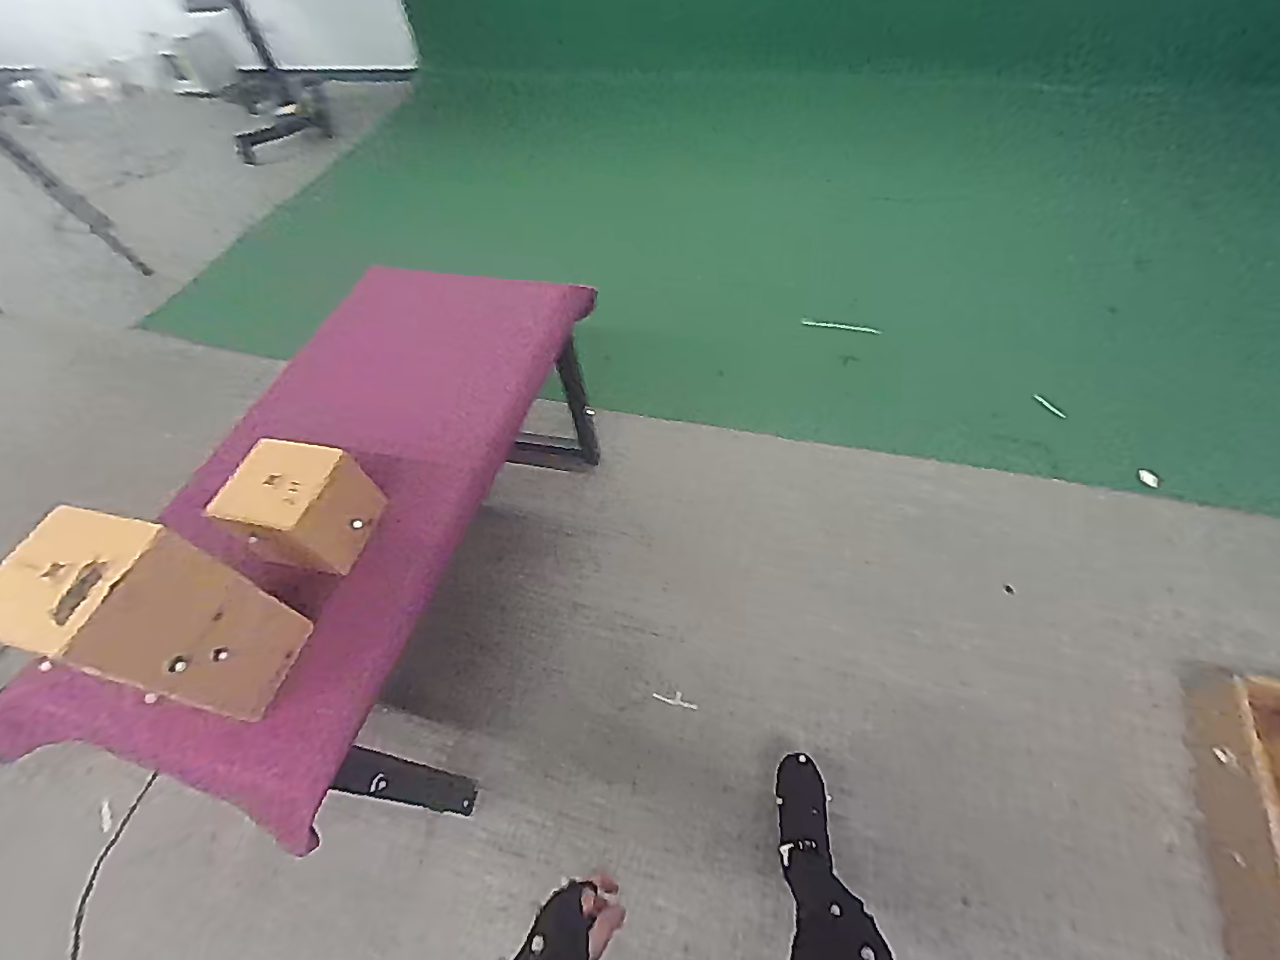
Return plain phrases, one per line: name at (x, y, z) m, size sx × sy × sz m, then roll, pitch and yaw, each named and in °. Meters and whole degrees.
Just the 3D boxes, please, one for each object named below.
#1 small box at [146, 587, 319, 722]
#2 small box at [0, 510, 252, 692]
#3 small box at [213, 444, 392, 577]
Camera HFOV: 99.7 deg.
small box at (-0.658, 0.261, 0.842) m, size 0.179 × 0.176 × 0.168 m, roll 8°, pitch 56°, yaw 13°
small box at (-0.672, 0.164, 0.709) m, size 0.179 × 0.176 × 0.168 m, roll 9°, pitch 56°, yaw 13°
small box at (-0.595, 0.059, 0.978) m, size 0.179 × 0.176 × 0.168 m, roll 9°, pitch 56°, yaw 12°
